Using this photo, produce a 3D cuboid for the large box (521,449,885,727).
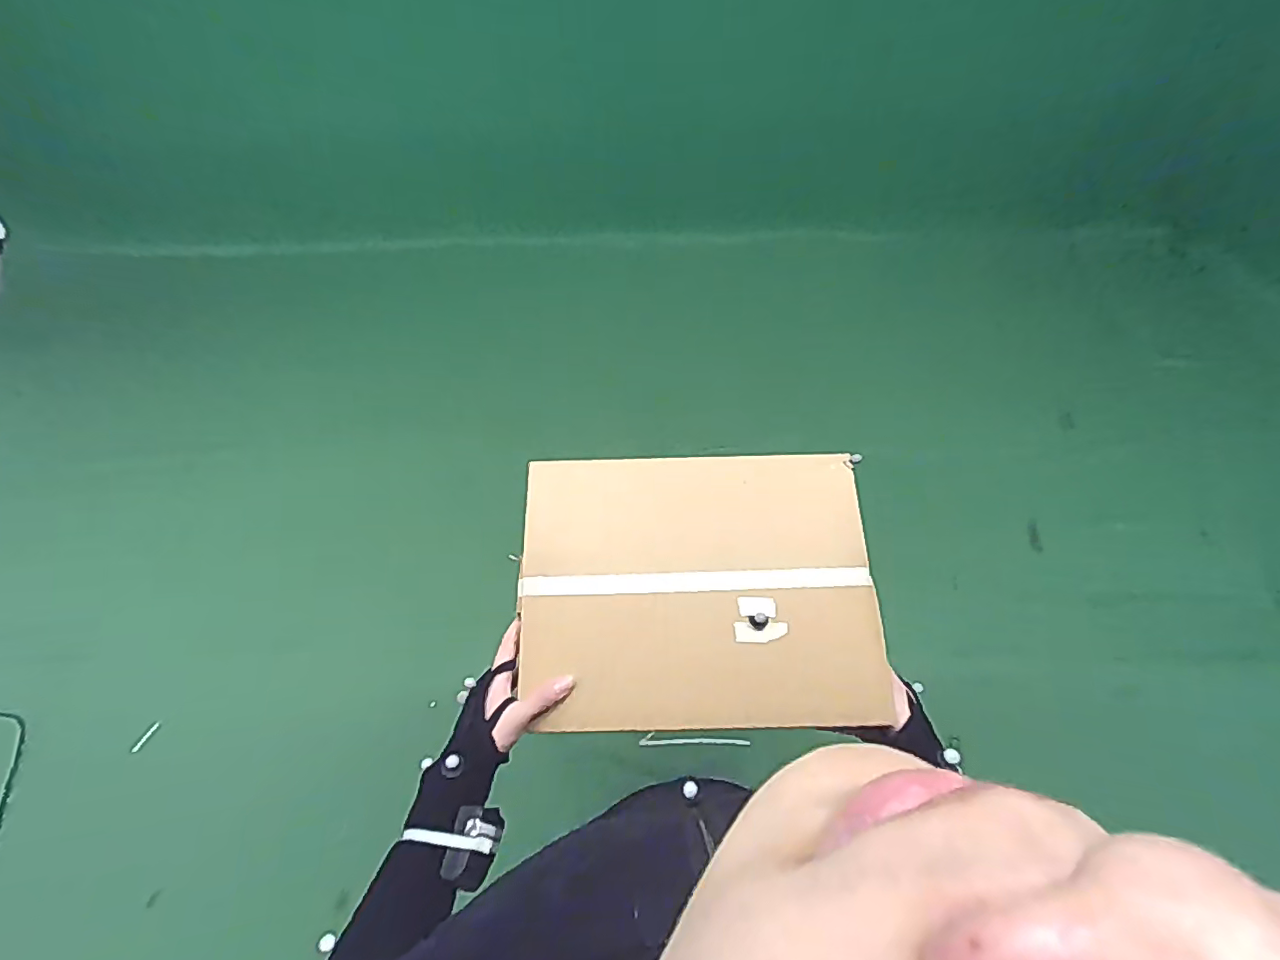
[{"bbox_3d":[0.062,0.164,0.772,0.408,0.320,0.320,-2,70,-1],"label":"large box"}]
